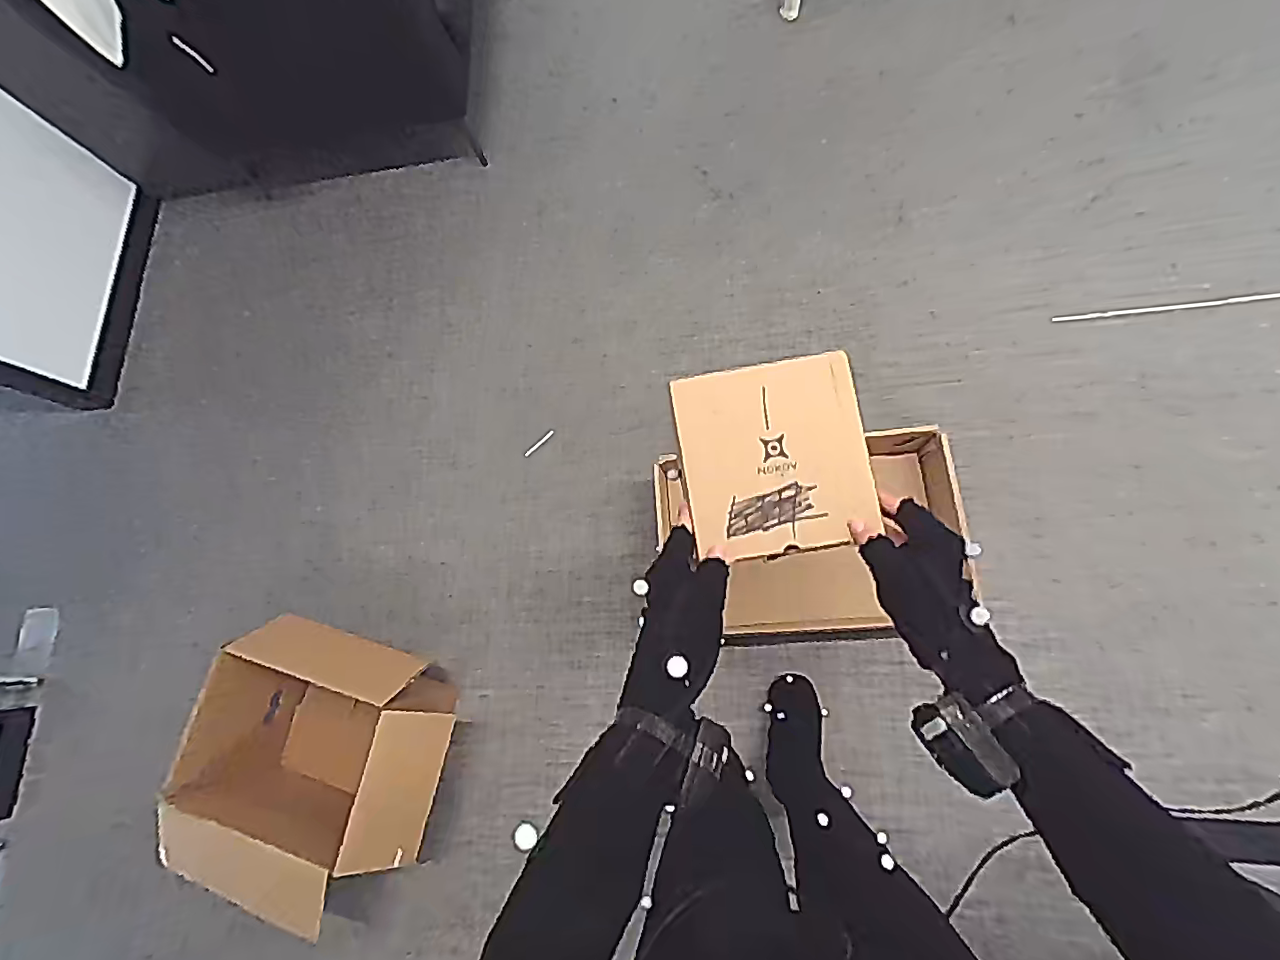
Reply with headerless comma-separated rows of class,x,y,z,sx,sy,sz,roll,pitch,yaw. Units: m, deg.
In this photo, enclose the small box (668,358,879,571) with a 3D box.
small box,0.126,-0.006,0.568,0.168,0.176,0.179,-9,82,3
